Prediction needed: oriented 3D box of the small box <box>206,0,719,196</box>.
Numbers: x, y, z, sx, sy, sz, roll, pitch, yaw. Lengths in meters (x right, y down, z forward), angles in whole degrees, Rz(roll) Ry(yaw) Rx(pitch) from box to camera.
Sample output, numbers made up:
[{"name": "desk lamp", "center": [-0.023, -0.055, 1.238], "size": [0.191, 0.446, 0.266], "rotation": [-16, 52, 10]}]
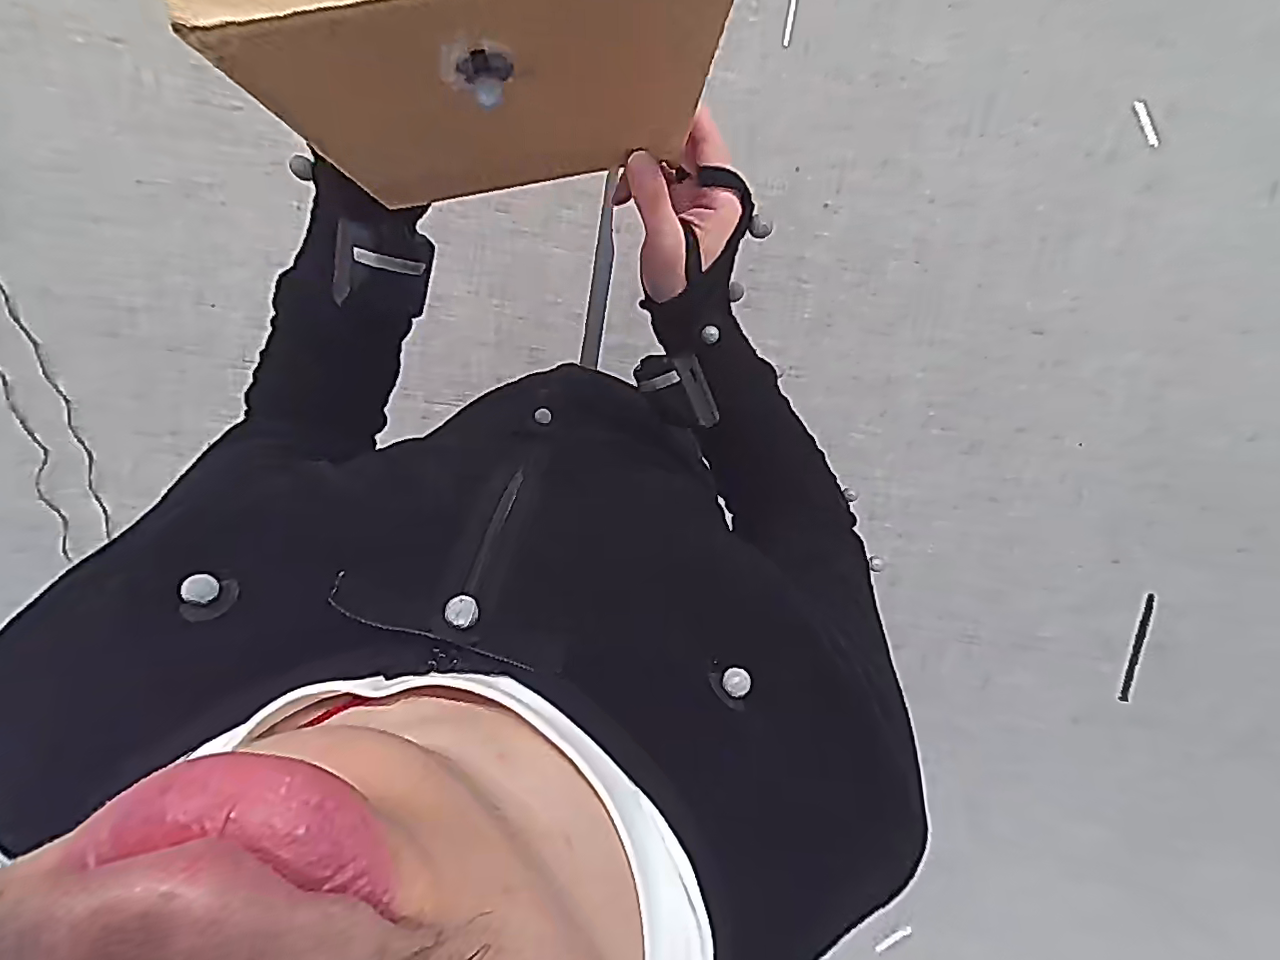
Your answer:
[{"name": "small box", "center": [-0.065, -0.244, 0.231], "size": [0.179, 0.176, 0.168], "rotation": [-12, 102, -3]}]
